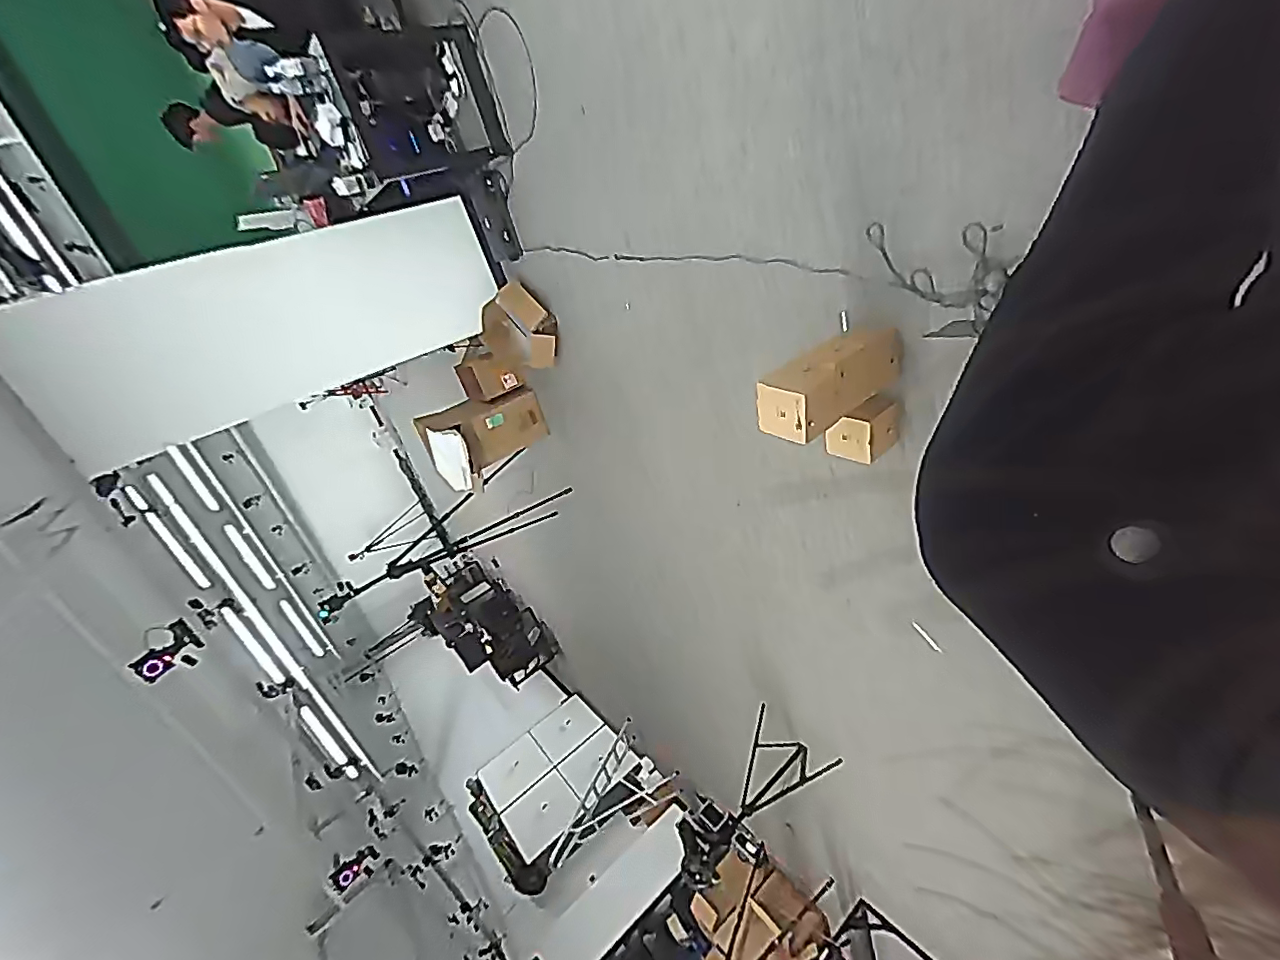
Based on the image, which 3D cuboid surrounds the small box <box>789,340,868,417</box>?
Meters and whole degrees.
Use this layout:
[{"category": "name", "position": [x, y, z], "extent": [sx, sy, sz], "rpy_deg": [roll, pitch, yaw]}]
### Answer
[{"category": "small box", "position": [0.596, -0.321, 1.695], "extent": [0.168, 0.176, 0.179], "rpy_deg": [21, 136, 50]}]

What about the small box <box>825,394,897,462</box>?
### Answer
[{"category": "small box", "position": [0.770, -0.191, 1.892], "extent": [0.179, 0.176, 0.168], "rpy_deg": [24, 138, 47]}]

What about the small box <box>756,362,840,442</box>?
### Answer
[{"category": "small box", "position": [0.473, -0.241, 1.620], "extent": [0.179, 0.176, 0.168], "rpy_deg": [29, 142, 45]}]

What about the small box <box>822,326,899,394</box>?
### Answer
[{"category": "small box", "position": [0.718, -0.398, 1.769], "extent": [0.179, 0.176, 0.168], "rpy_deg": [19, 134, 51]}]
